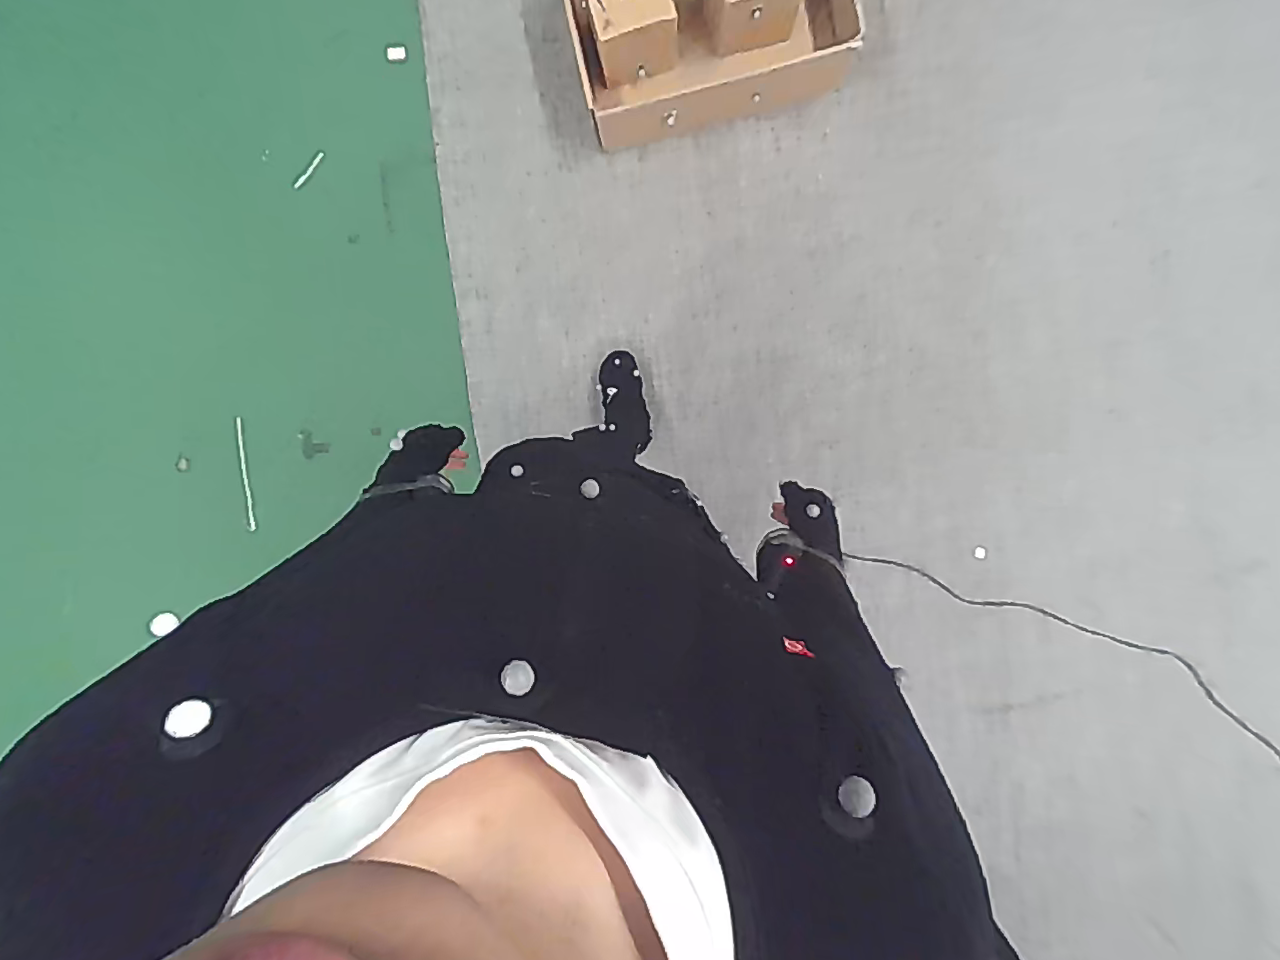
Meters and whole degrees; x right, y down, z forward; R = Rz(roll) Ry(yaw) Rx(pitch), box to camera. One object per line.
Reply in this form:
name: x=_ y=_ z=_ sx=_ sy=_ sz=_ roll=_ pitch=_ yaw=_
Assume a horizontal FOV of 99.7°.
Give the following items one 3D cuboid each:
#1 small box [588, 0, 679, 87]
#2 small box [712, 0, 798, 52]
small box: x=-0.019 y=-1.048 z=1.230 sx=0.179 sy=0.176 sz=0.168 roll=-15 pitch=93 yaw=3
small box: x=0.255 y=-1.110 z=1.210 sx=0.179 sy=0.176 sz=0.168 roll=-11 pitch=95 yaw=5
